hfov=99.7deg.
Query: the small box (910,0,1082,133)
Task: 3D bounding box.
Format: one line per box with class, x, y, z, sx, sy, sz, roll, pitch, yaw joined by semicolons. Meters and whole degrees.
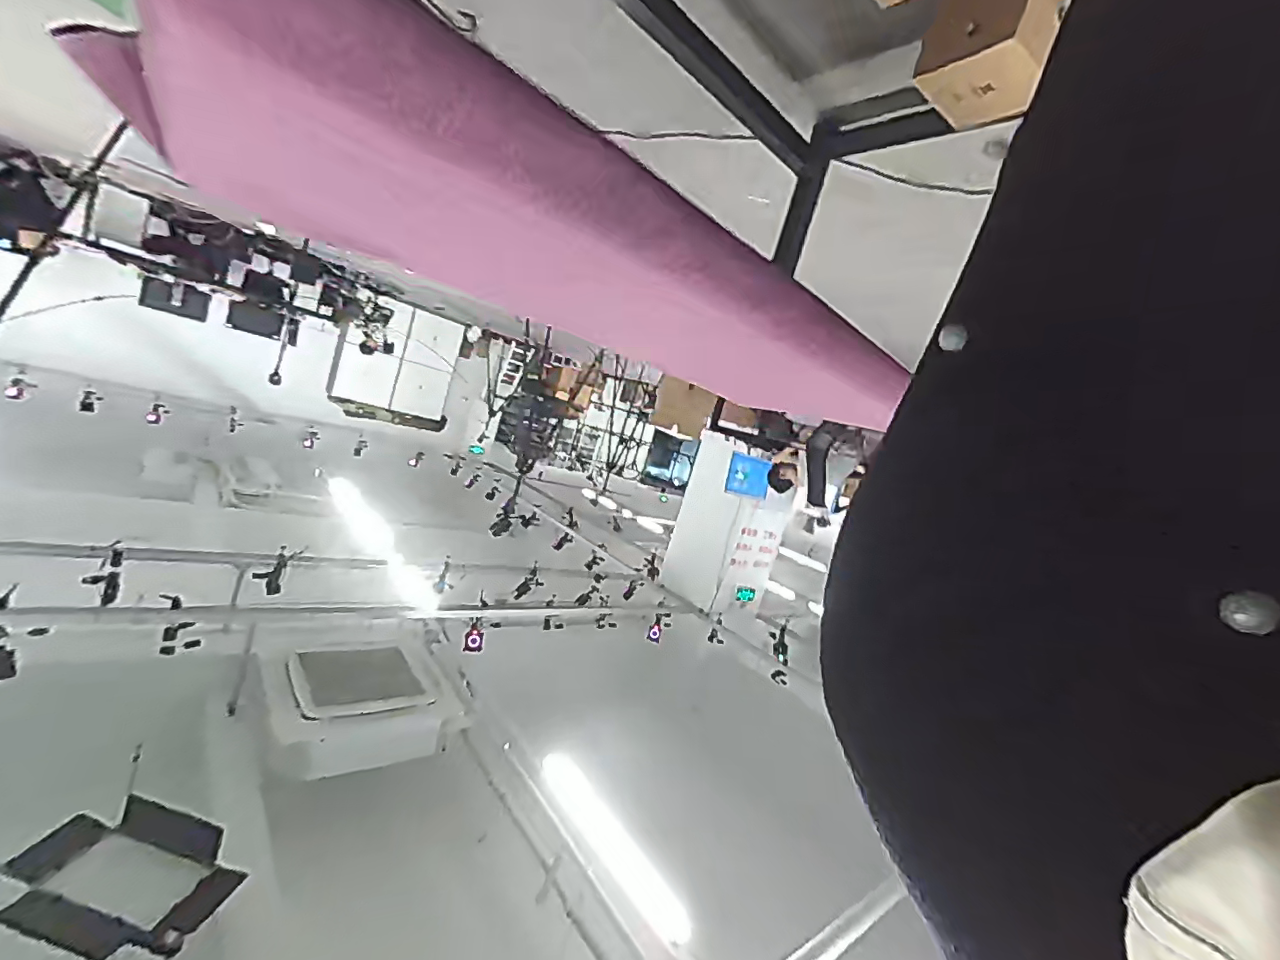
small box;0.598;-0.731;0.904;0.168;0.176;0.179;14;-174;-33
